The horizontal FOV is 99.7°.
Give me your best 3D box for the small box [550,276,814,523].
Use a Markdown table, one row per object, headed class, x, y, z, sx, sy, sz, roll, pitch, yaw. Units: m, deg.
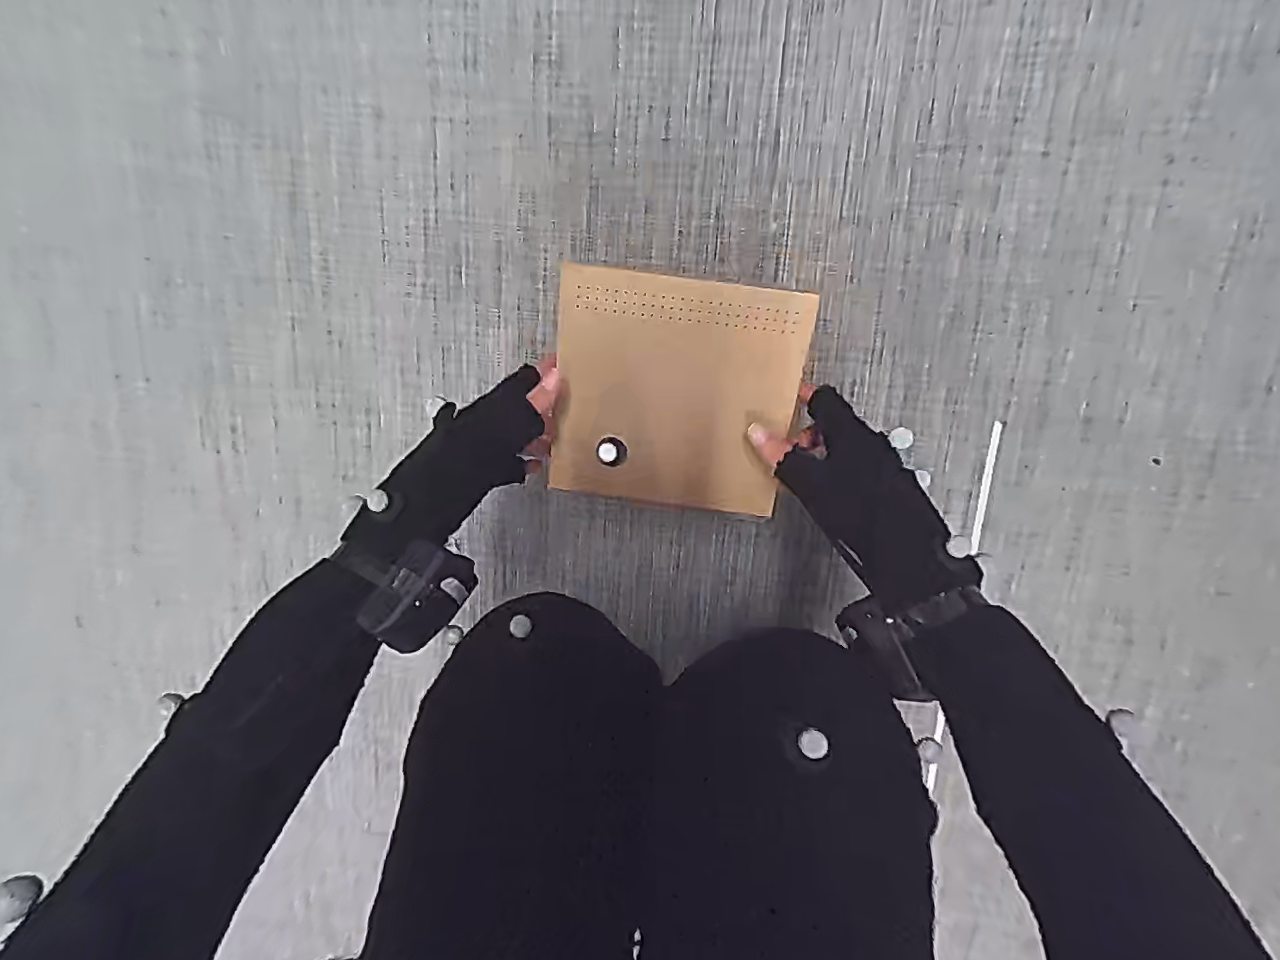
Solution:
| class | x | y | z | sx | sy | sz | roll | pitch | yaw |
| --- | --- | --- | --- | --- | --- | --- | --- | --- | --- |
| small box | 0.031 | -0.081 | 0.465 | 0.179 | 0.168 | 0.176 | 7 | 109 | 2 |
